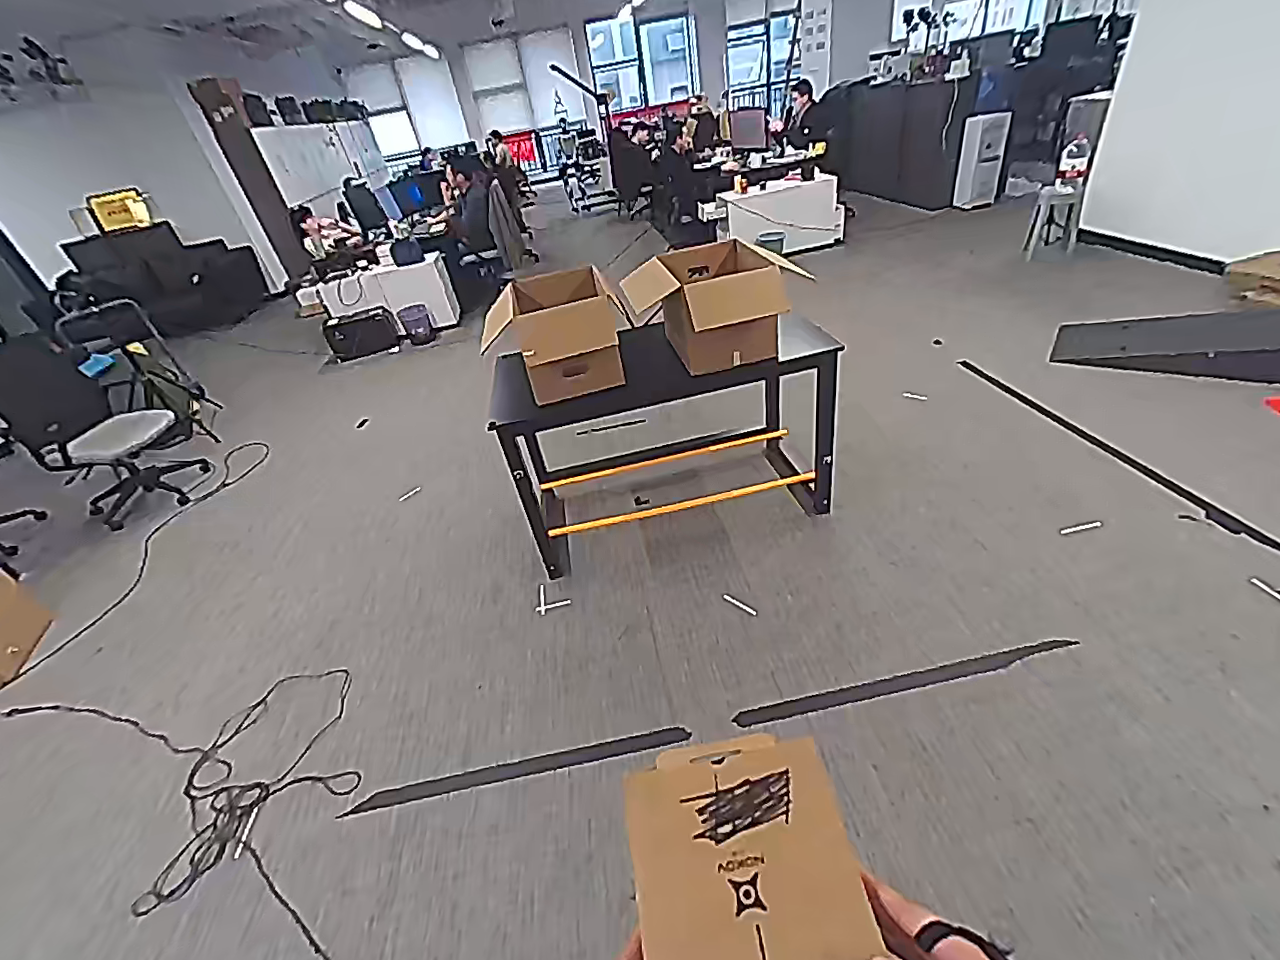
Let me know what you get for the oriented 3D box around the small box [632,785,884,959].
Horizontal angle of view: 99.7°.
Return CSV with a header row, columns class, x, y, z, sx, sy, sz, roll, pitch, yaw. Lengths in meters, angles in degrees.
class,x,y,z,sx,sy,sz,roll,pitch,yaw
small box,0.092,0.380,0.442,0.168,0.176,0.179,-11,48,-1
